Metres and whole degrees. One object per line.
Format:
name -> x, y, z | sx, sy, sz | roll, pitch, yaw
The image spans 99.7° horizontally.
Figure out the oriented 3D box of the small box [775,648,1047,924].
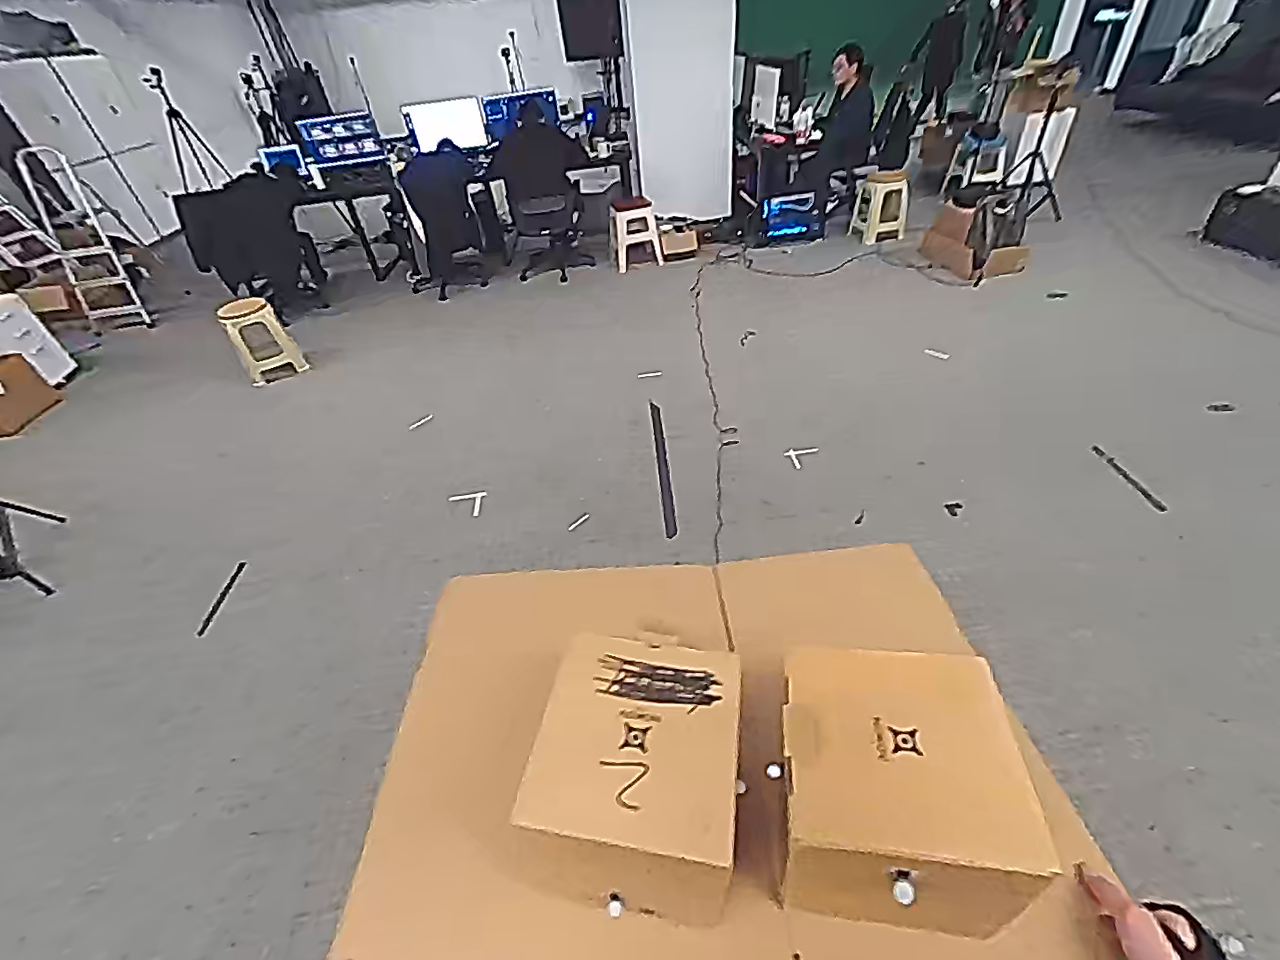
small box -> 0.218, 0.277, 0.495 | 0.179, 0.176, 0.168 | 0, 40, 12
